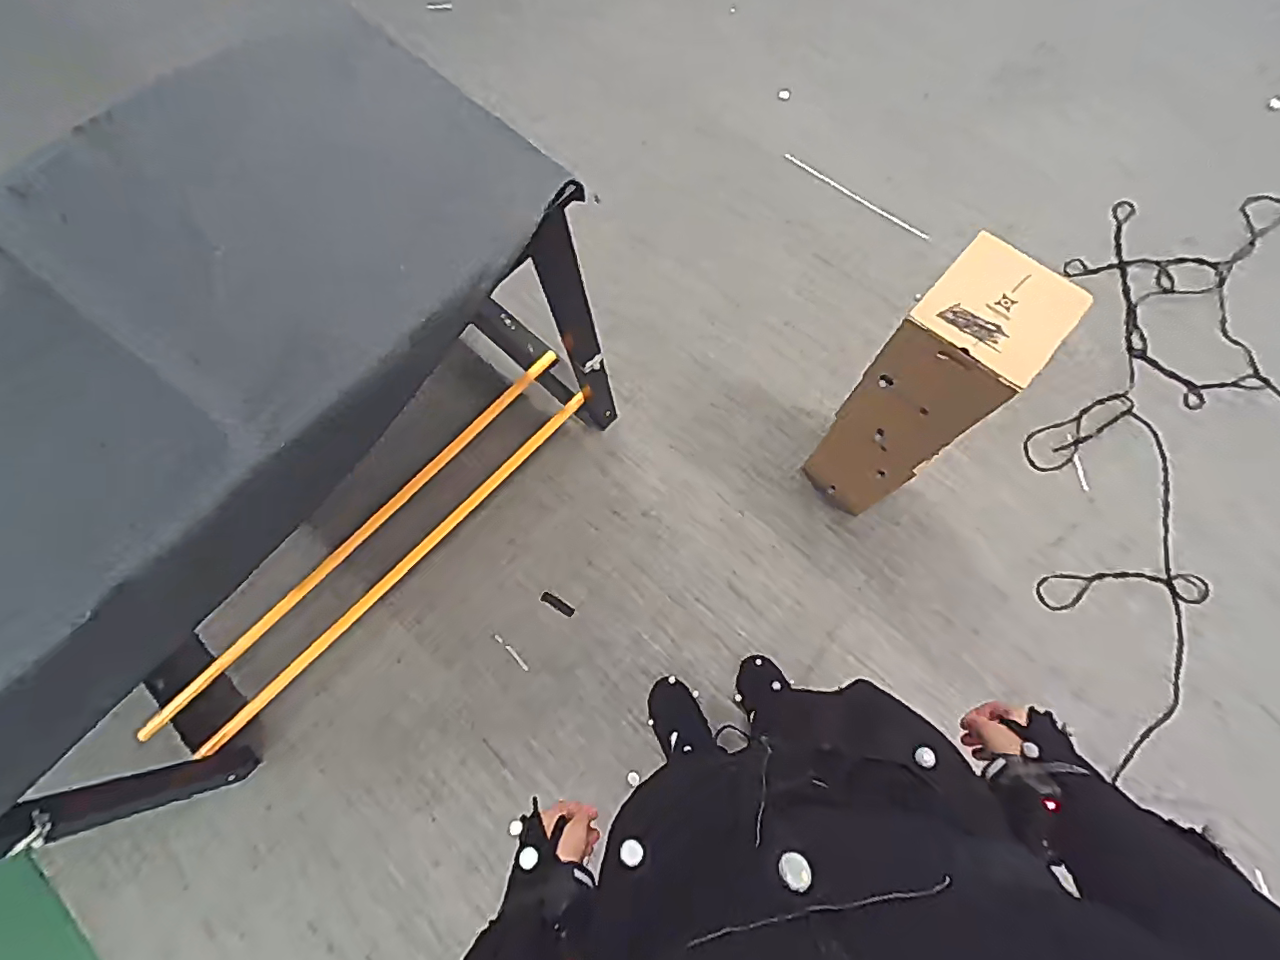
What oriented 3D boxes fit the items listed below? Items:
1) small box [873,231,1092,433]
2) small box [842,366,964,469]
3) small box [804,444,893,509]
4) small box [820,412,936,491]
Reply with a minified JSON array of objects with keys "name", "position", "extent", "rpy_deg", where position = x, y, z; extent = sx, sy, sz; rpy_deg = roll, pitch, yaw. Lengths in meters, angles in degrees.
[{"name":"small box","position":[0.458,-0.195,0.759],"extent":[0.168,0.176,0.179],"rpy_deg":[41,78,13]},{"name":"small box","position":[0.475,-0.148,0.916],"extent":[0.168,0.176,0.179],"rpy_deg":[43,80,14]},{"name":"small box","position":[0.505,-0.051,1.227],"extent":[0.168,0.176,0.179],"rpy_deg":[-44,77,-9]},{"name":"small box","position":[0.490,-0.097,1.071],"extent":[0.179,0.176,0.168],"rpy_deg":[41,79,15]}]
